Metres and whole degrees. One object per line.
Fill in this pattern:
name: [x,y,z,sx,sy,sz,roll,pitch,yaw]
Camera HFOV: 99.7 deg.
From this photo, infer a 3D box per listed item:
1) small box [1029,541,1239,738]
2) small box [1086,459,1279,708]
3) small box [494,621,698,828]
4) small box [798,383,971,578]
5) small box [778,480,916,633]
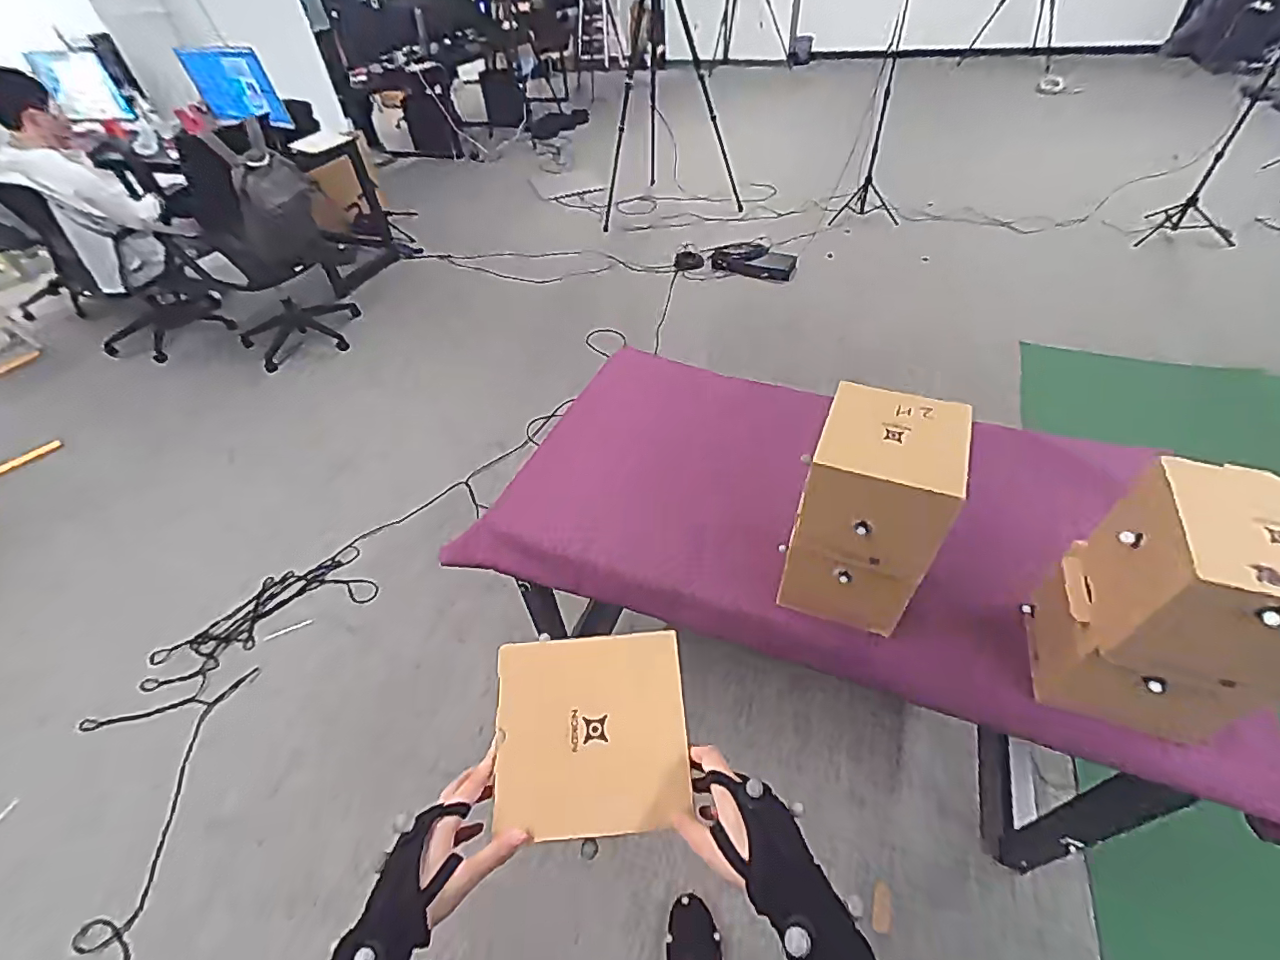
small box: [0.643,0.211,0.712,0.179,0.176,0.168,13,49,17]
small box: [0.623,0.108,0.584,0.168,0.176,0.179,14,48,19]
small box: [-0.040,0.254,0.565,0.179,0.176,0.168,-6,61,1]
small box: [0.317,0.001,0.721,0.168,0.176,0.179,17,49,20]
small box: [0.324,0.111,0.843,0.179,0.176,0.168,15,48,18]
